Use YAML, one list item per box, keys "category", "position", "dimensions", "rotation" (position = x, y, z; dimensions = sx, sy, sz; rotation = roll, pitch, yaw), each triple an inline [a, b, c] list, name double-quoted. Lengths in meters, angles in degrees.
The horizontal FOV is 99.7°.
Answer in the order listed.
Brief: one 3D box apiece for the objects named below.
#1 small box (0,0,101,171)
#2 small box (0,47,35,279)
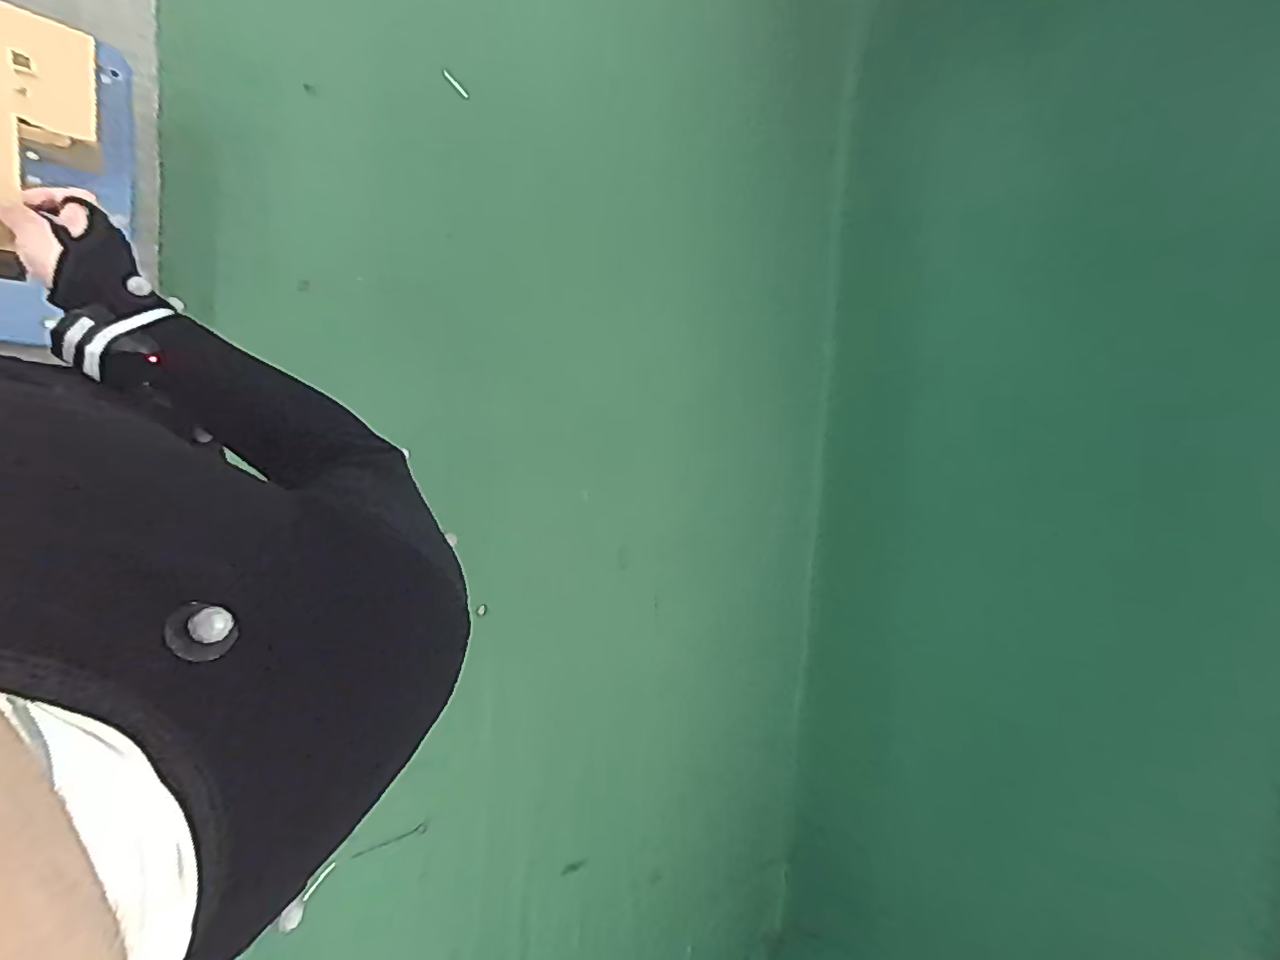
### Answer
- category: "small box"
  position: [-1.020, -0.656, 0.900]
  dimensions: [0.168, 0.176, 0.179]
  rotation: [-1, 96, -43]
- category: "small box"
  position: [-0.655, -0.288, 0.470]
  dimensions: [0.168, 0.176, 0.179]
  rotation: [-5, 98, -49]
